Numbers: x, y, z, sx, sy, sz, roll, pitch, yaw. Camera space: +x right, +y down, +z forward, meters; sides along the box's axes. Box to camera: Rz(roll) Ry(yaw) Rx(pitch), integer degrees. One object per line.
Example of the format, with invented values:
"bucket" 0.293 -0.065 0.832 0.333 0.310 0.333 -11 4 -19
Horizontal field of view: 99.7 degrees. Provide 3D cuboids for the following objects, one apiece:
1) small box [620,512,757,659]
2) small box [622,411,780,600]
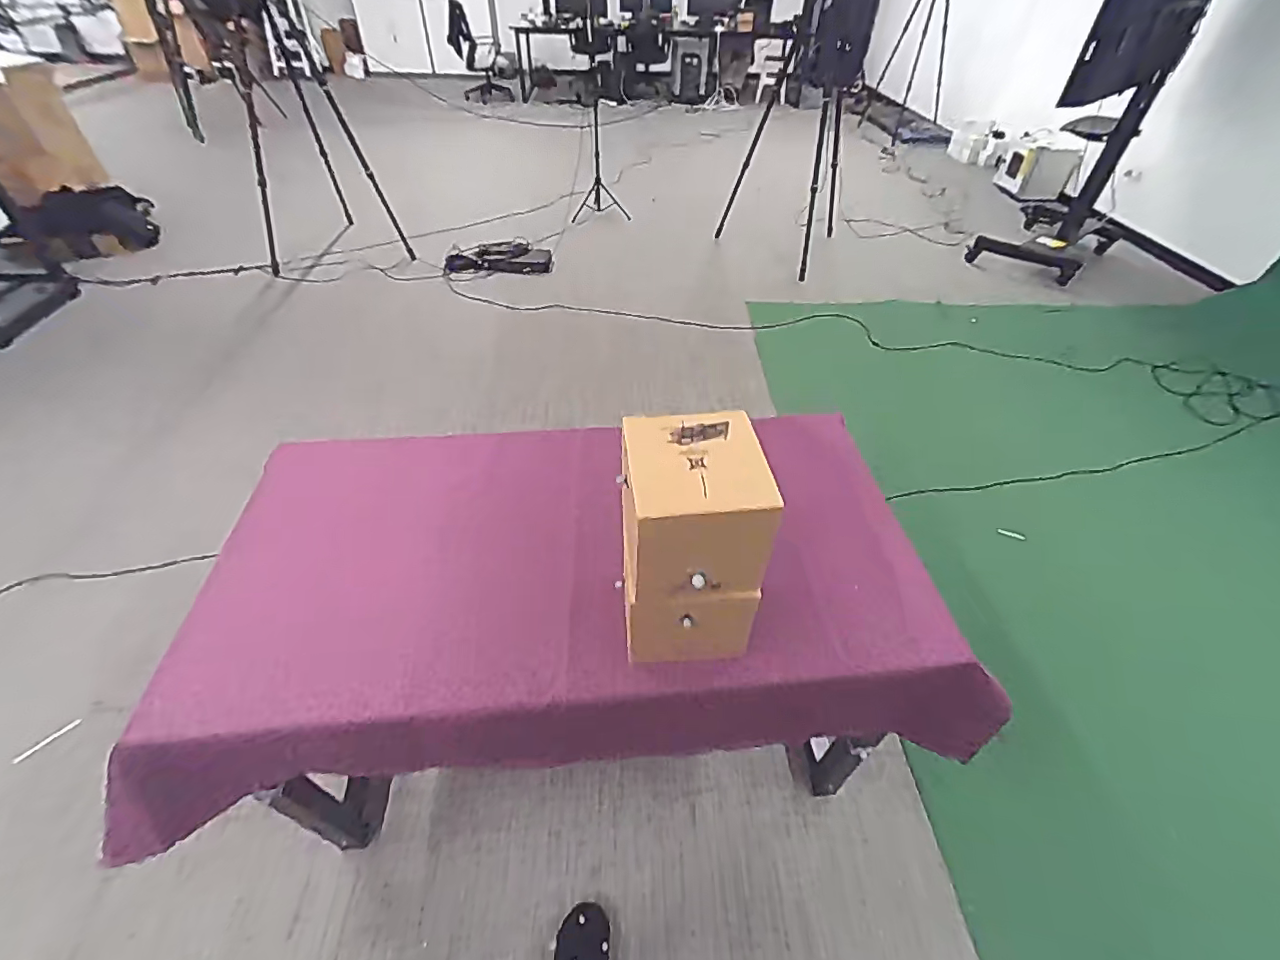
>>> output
"small box" 0.063 0.155 0.811 0.179 0.176 0.168 -3 45 -3
"small box" 0.064 0.032 0.701 0.168 0.176 0.179 -5 45 -5
